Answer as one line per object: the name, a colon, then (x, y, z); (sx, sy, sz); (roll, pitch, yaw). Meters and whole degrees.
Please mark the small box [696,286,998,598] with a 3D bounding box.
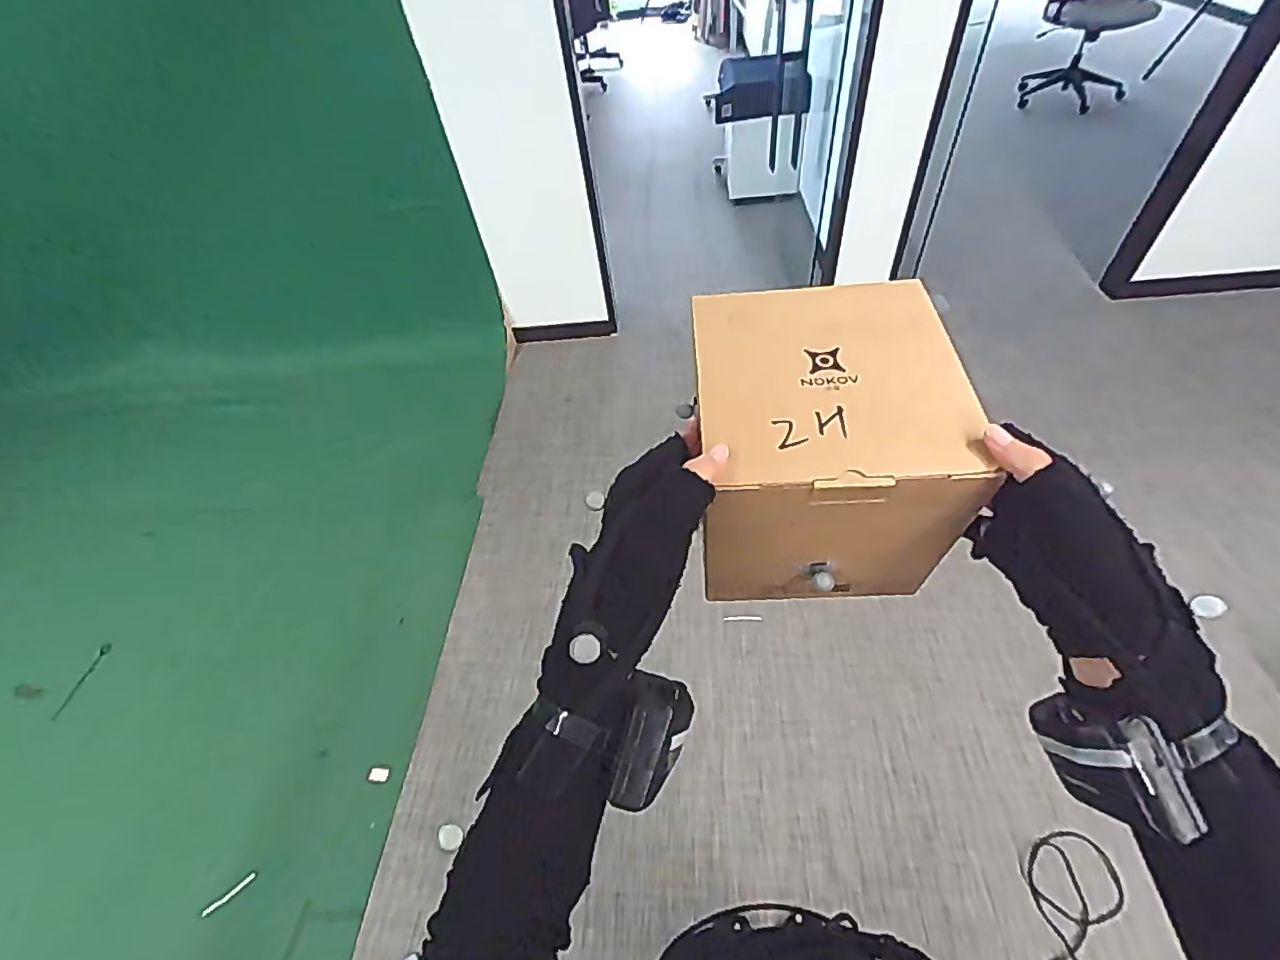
small box: (0.128, -0.023, 0.420); (0.168, 0.176, 0.179); (-3, 55, 6)
